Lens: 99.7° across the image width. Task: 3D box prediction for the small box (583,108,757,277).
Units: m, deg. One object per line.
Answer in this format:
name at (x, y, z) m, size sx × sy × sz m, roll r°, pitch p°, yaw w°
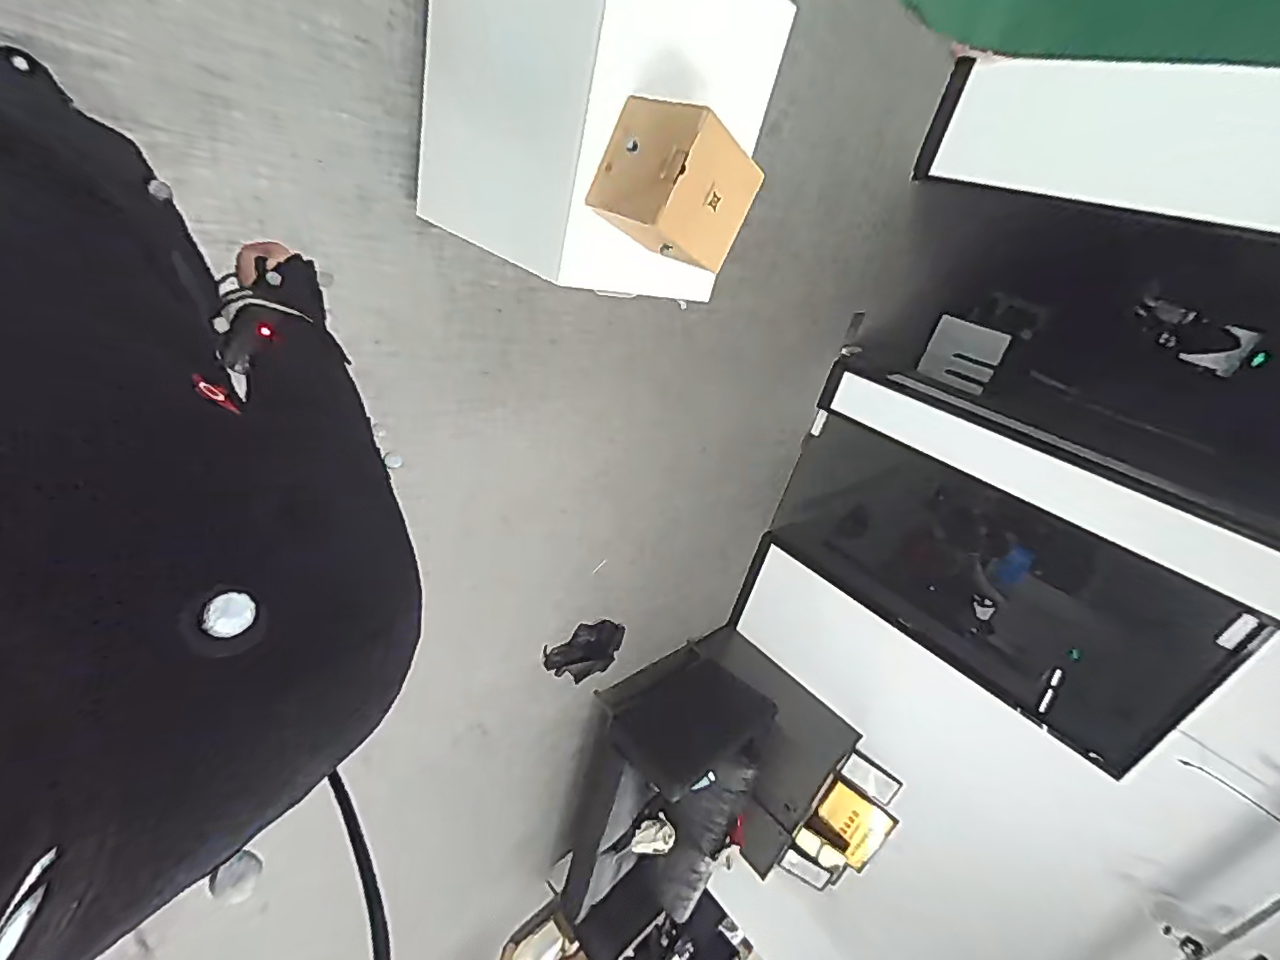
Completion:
small box at (0.046, -0.451, 0.850) m, size 0.179 × 0.176 × 0.168 m, roll 8°, pitch 113°, yaw -52°
